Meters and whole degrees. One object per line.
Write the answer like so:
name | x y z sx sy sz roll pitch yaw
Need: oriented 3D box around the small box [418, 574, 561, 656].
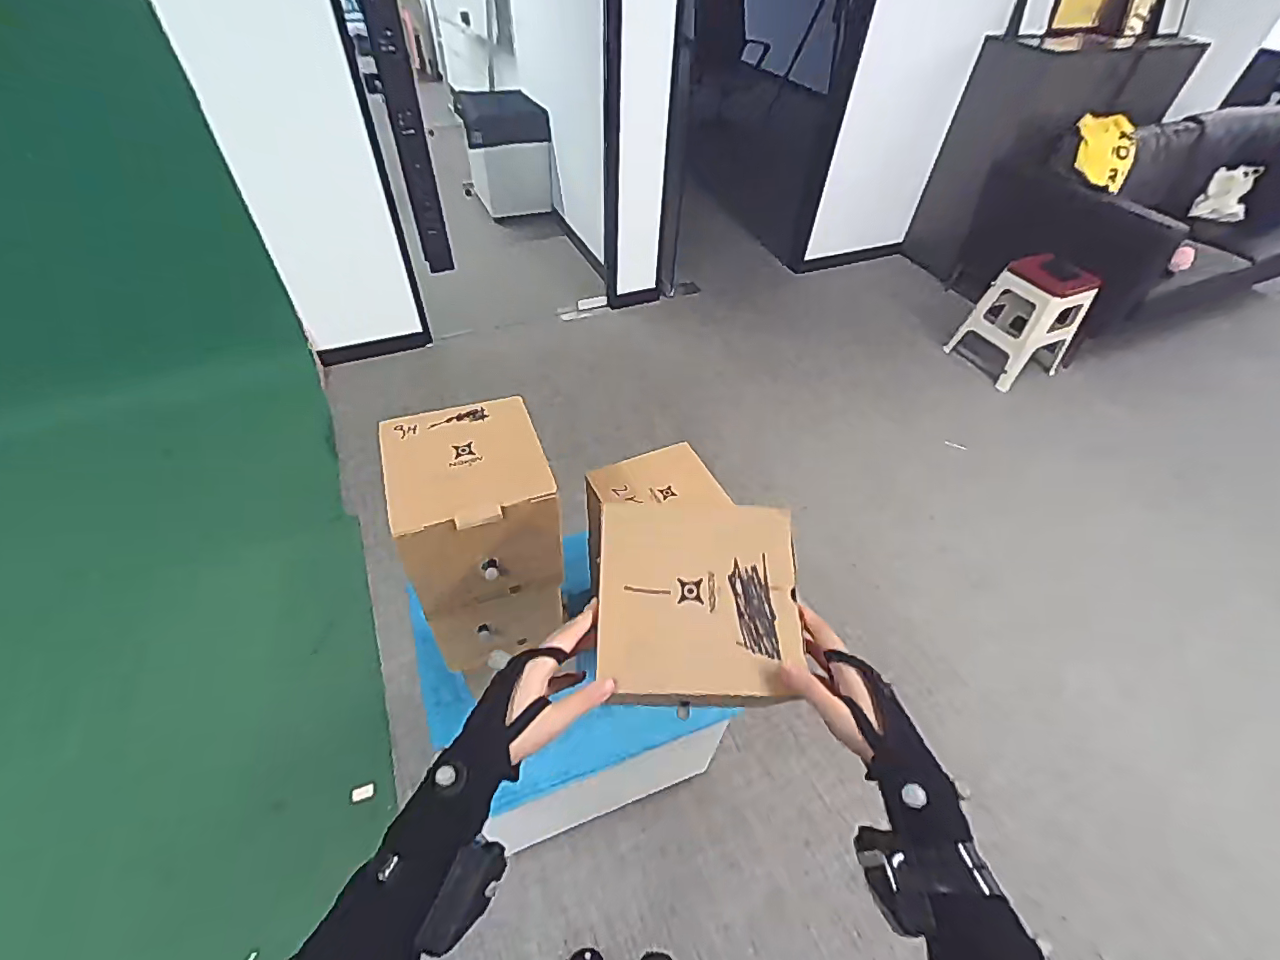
small box | -0.212 0.127 0.763 0.168 0.176 0.179 -13 49 -16

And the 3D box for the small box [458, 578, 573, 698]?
small box | -0.210 0.234 0.885 0.168 0.176 0.179 -13 49 -17

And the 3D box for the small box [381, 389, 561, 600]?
small box | -0.193 0.022 0.638 0.168 0.176 0.179 -12 49 -17

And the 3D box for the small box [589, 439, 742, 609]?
small box | 0.029 0.069 0.829 0.179 0.176 0.168 -17 51 -17
